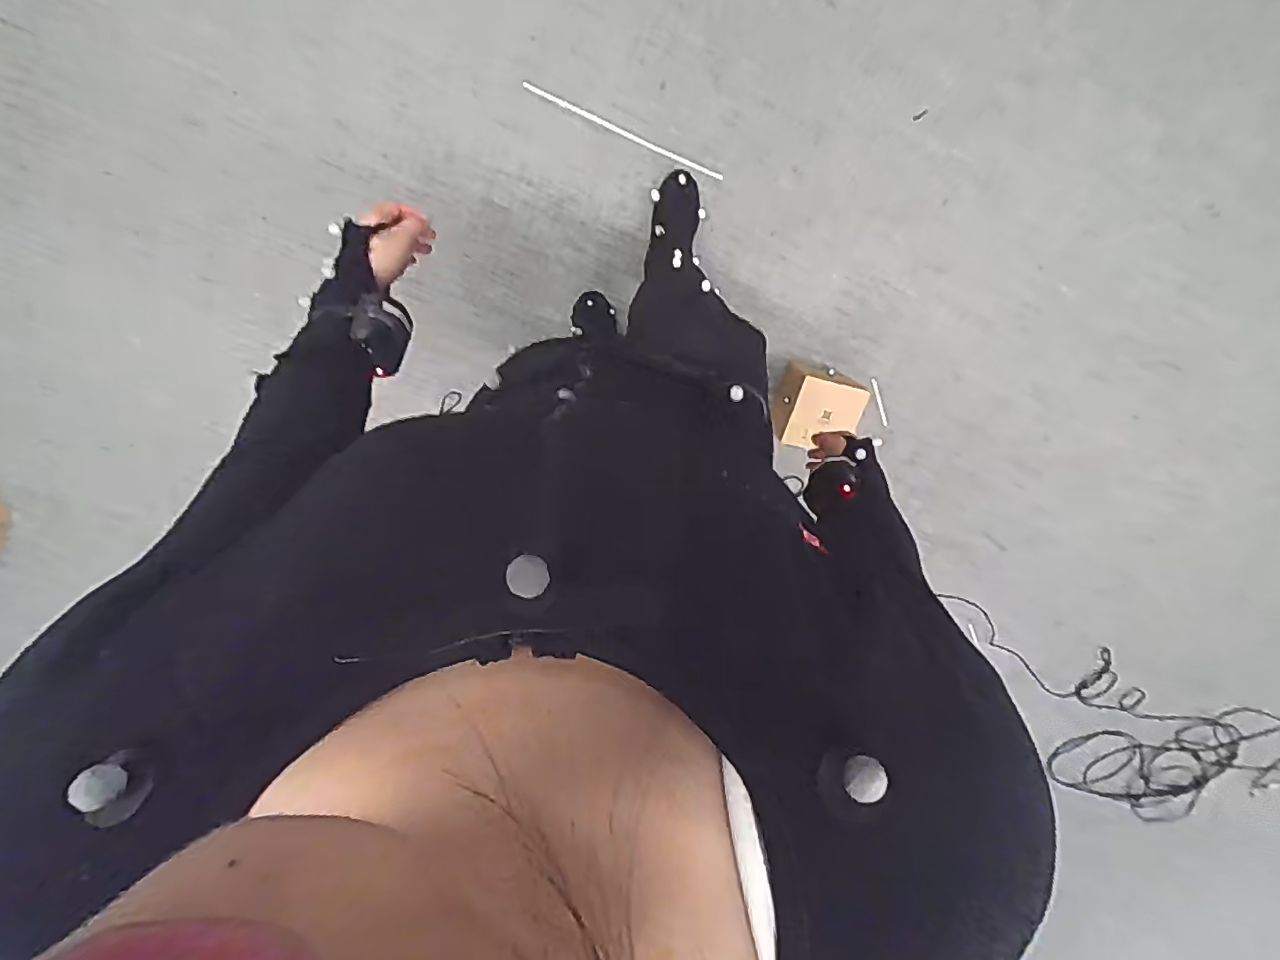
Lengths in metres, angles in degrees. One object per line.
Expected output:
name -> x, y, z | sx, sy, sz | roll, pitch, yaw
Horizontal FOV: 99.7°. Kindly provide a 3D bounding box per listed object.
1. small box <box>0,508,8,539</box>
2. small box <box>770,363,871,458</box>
small box -> -2.007, 0.140, 1.558 | 0.179, 0.176, 0.168 | 33, 111, -13
small box -> 0.443, -0.181, 1.362 | 0.168, 0.176, 0.179 | 13, 114, -5
